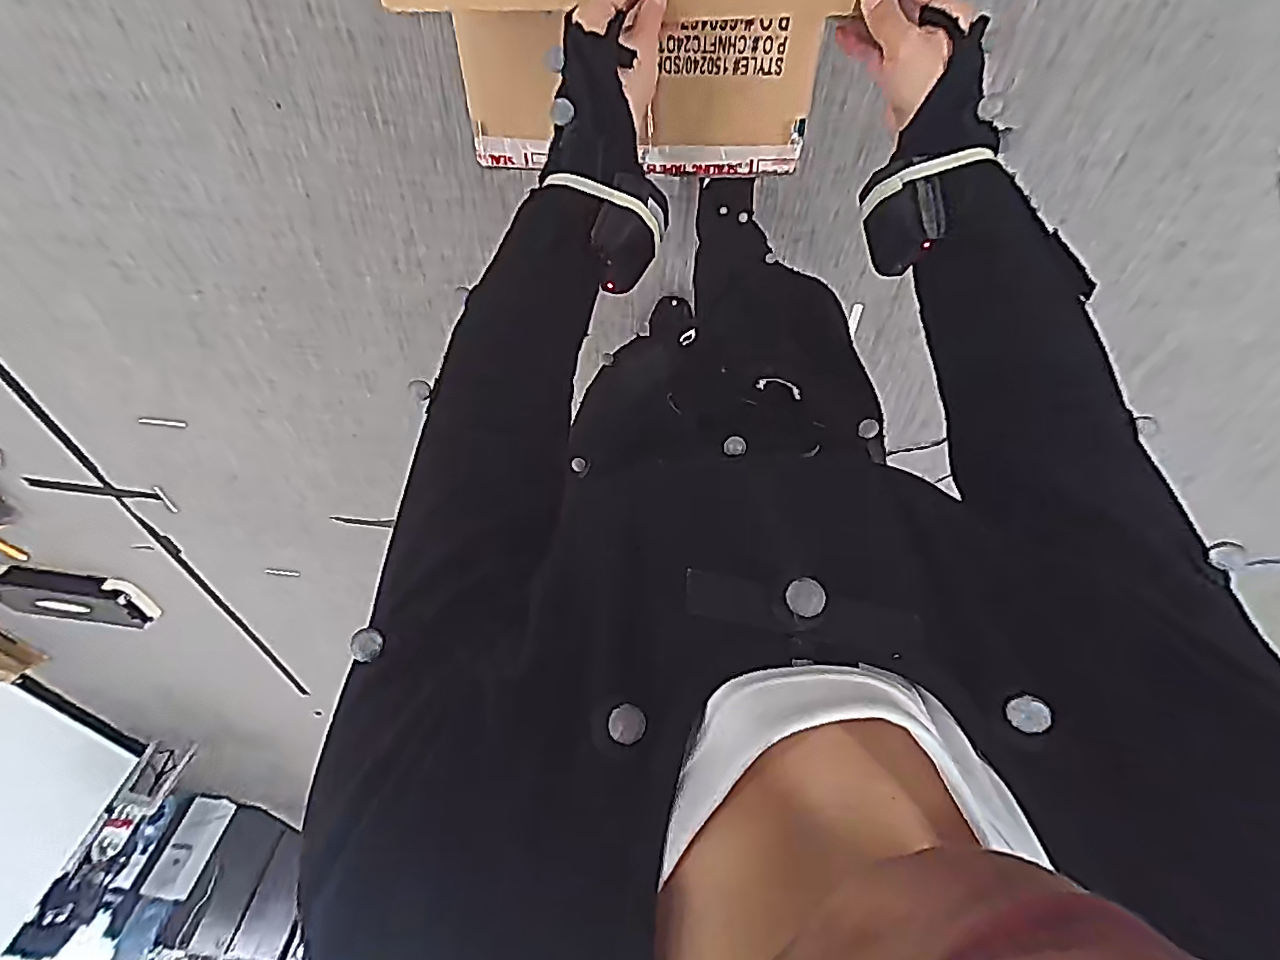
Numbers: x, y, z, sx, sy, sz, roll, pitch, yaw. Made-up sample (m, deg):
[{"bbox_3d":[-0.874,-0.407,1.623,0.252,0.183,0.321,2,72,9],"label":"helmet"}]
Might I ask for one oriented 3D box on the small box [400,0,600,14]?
[{"bbox_3d":[-0.109,-0.488,0.430,0.179,0.176,0.168,5,136,6],"label":"small box"}]
